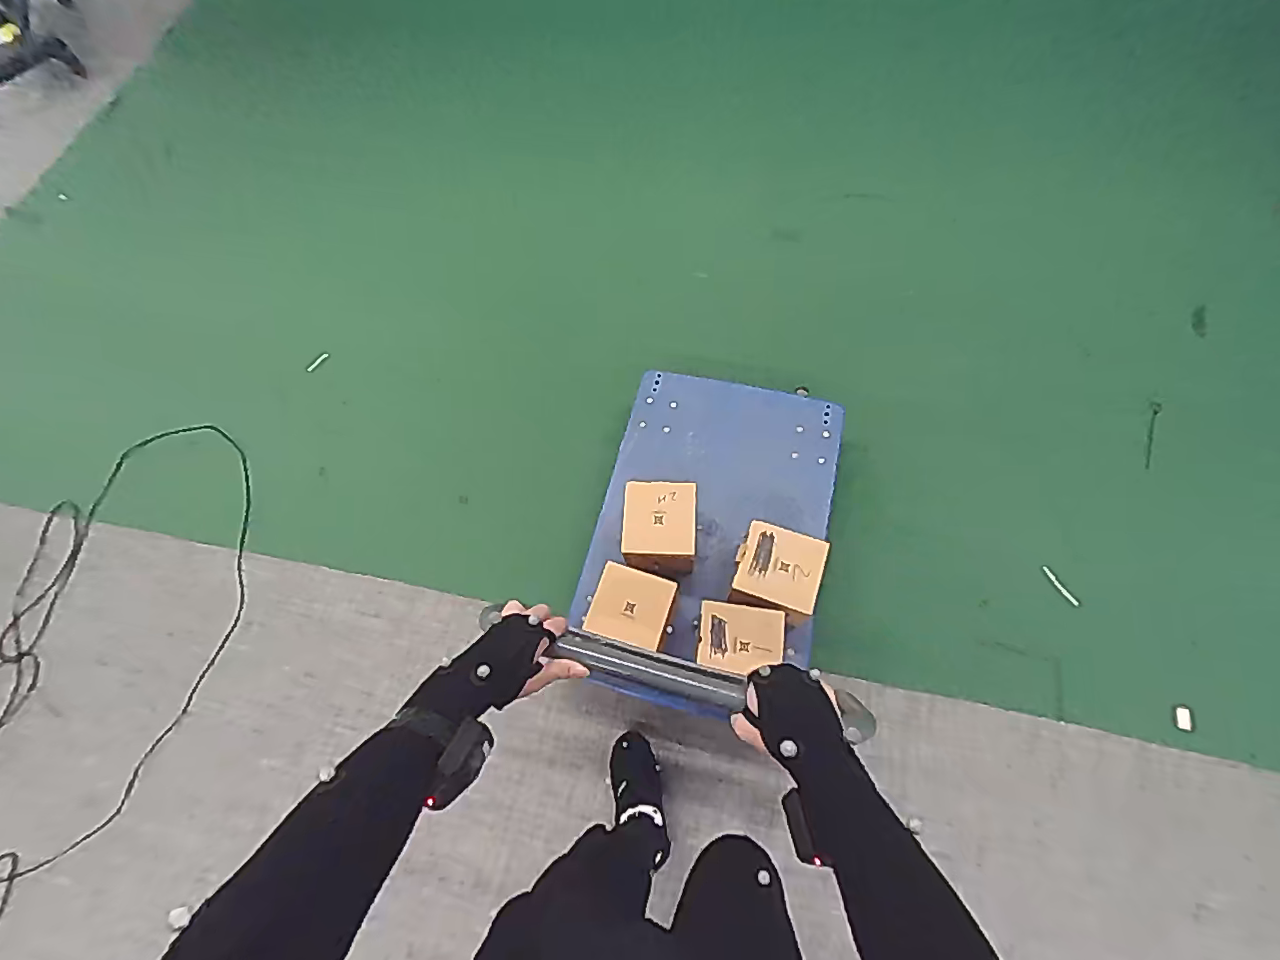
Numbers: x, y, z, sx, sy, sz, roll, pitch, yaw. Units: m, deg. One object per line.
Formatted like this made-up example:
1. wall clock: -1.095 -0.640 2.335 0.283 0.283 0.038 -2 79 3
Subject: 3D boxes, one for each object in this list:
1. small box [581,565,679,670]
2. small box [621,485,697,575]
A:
1. small box: -0.016 0.316 1.223 0.168 0.176 0.179 17 70 11
2. small box: 0.052 0.126 1.297 0.168 0.176 0.179 2 67 5
